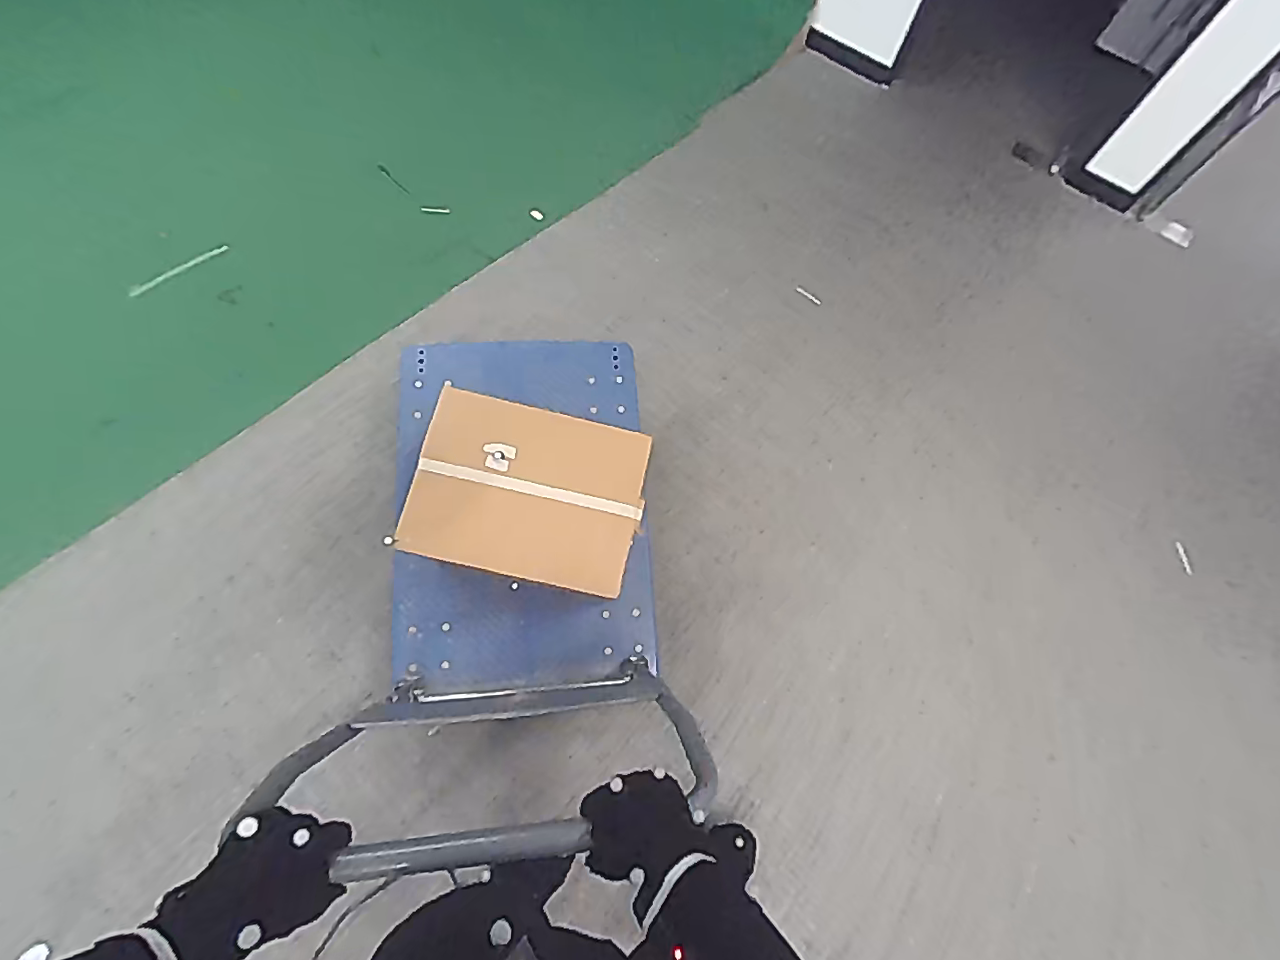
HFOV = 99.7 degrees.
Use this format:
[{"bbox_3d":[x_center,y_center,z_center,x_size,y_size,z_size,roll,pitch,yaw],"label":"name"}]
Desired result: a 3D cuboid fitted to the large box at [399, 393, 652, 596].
[{"bbox_3d":[-0.207,0.053,1.123,0.408,0.320,0.320,12,75,-2],"label":"large box"}]
